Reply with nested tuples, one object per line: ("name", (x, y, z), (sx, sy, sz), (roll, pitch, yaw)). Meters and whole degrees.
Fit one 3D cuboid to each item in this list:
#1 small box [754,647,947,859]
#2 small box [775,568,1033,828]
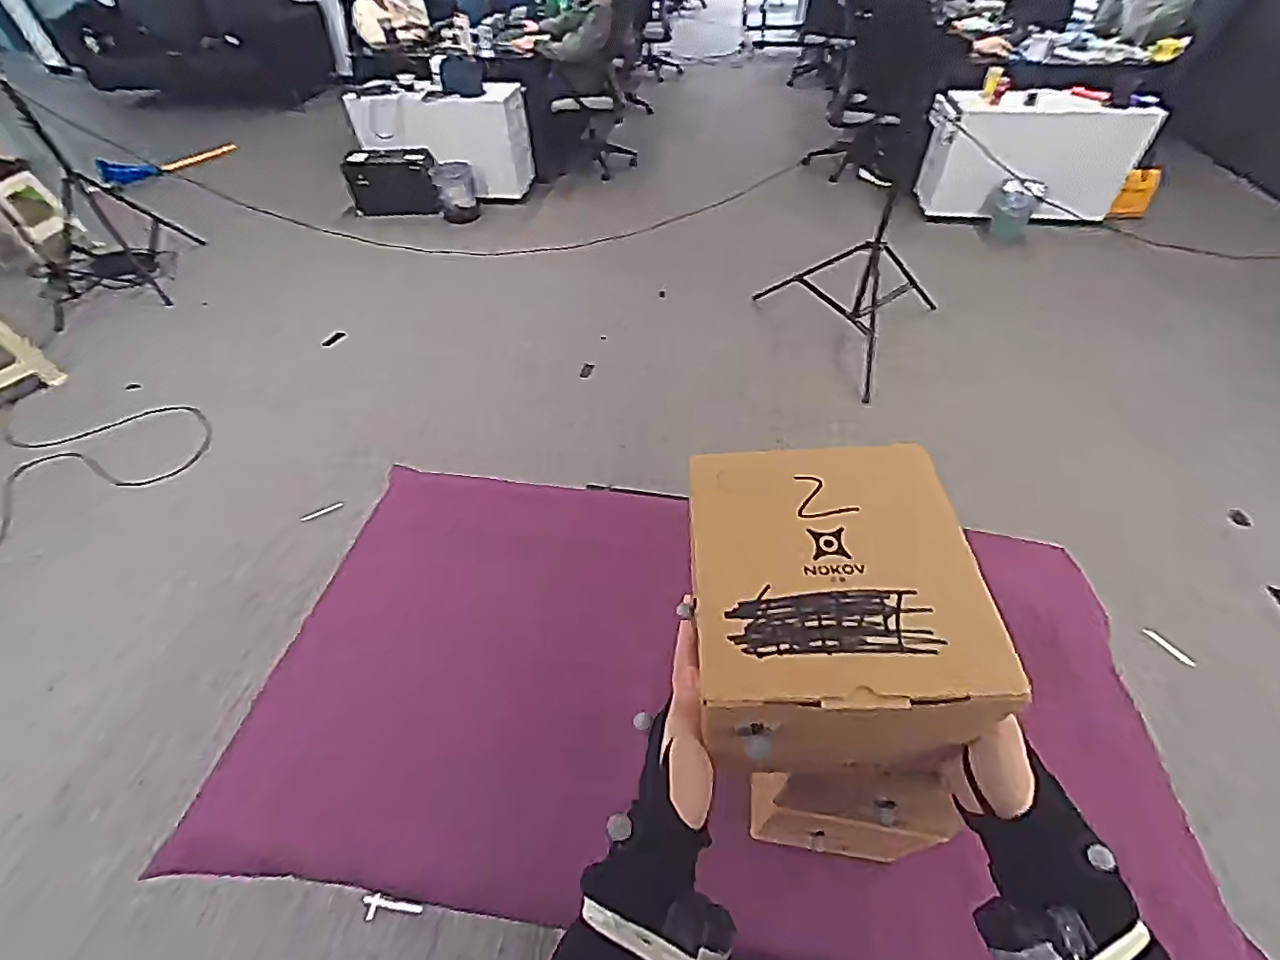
("small box", (0.229, 0.324, 0.638), (0.168, 0.176, 0.179), (6, 48, 7))
("small box", (0.227, 0.211, 0.519), (0.168, 0.176, 0.179), (7, 49, 8))
